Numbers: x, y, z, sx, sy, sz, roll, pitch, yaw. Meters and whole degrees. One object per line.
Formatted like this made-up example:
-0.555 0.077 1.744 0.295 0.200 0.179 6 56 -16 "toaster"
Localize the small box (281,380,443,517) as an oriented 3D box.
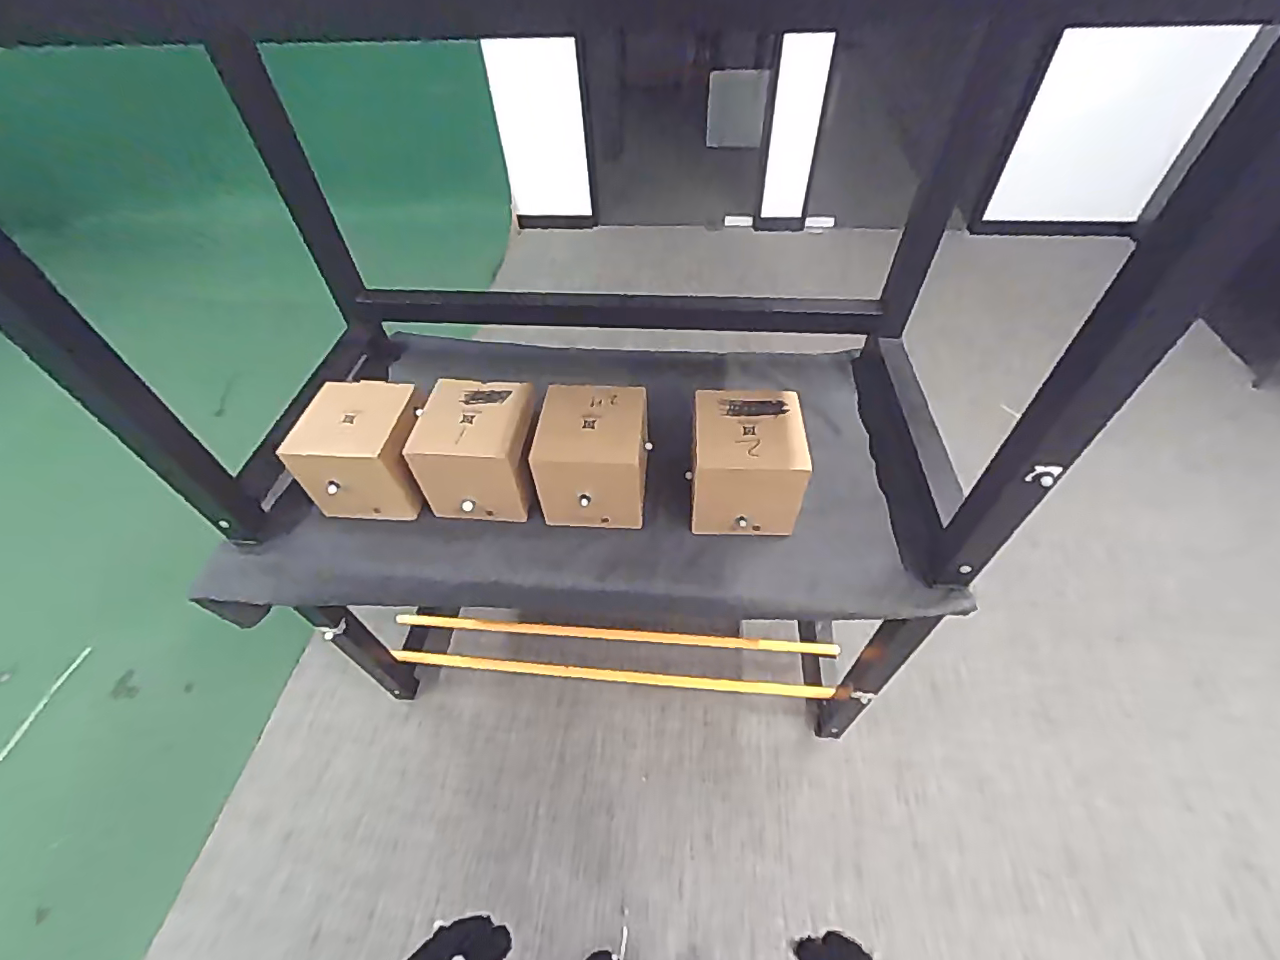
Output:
-0.462 -0.052 0.936 0.168 0.176 0.179 3 49 4 "small box"
